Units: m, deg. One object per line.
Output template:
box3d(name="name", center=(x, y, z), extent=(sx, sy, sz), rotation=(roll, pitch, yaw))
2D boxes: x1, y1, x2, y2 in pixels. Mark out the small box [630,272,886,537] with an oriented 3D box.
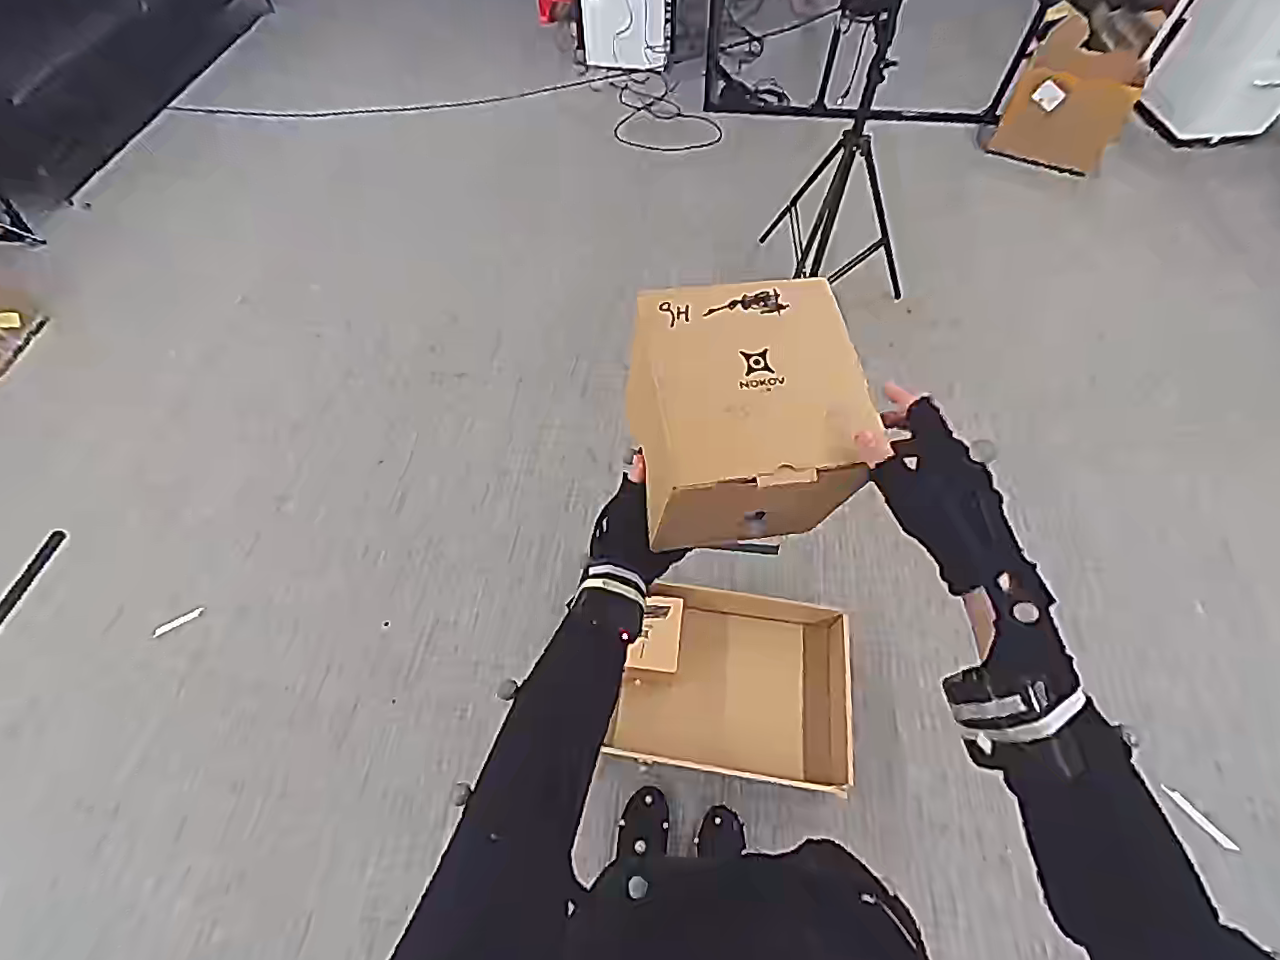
box3d(name="small box", center=(0.082, -0.054, 0.482), extent=(0.168, 0.176, 0.179), rotation=(-6, 68, -6))
